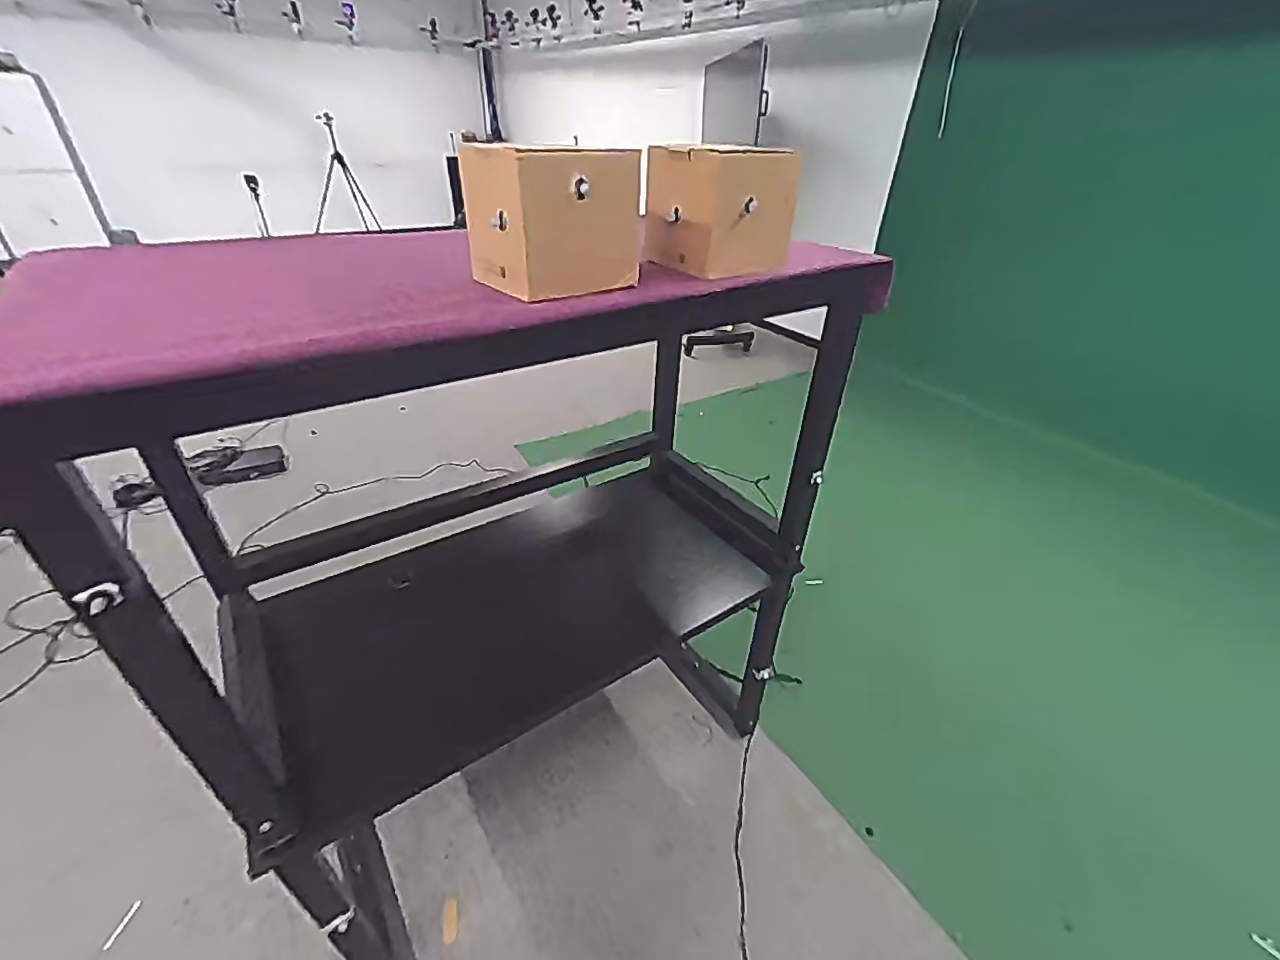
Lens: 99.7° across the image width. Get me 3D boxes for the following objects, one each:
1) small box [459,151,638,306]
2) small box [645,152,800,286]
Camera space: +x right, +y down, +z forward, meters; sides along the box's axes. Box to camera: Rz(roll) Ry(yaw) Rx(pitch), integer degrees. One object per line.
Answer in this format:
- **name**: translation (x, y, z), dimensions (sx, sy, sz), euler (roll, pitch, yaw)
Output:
- **small box**: translation (-0.117, -0.338, 0.722), dimensions (0.179, 0.176, 0.168), euler (-21, 39, -32)
- **small box**: translation (0.123, -0.417, 0.859), dimensions (0.179, 0.176, 0.168), euler (-21, 40, -29)
